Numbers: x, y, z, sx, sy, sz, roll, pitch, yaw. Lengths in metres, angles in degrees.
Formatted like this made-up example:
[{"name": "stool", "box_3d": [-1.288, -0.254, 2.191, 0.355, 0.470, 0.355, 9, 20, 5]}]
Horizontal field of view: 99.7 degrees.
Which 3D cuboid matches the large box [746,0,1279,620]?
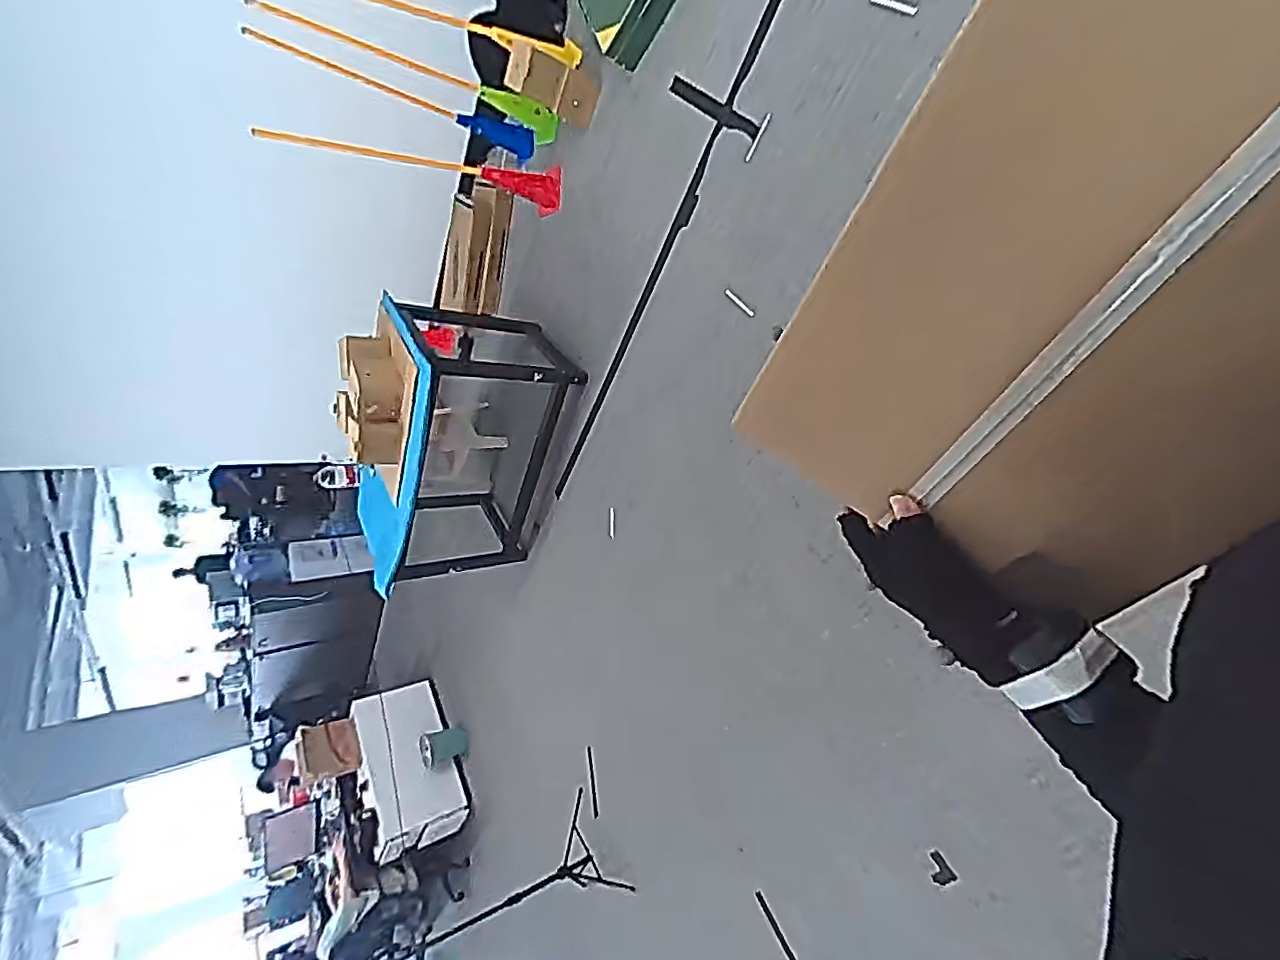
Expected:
[{"name": "large box", "box_3d": [0.348, -0.174, 0.440, 0.320, 0.320, 0.408, 34, 132, 9]}]
